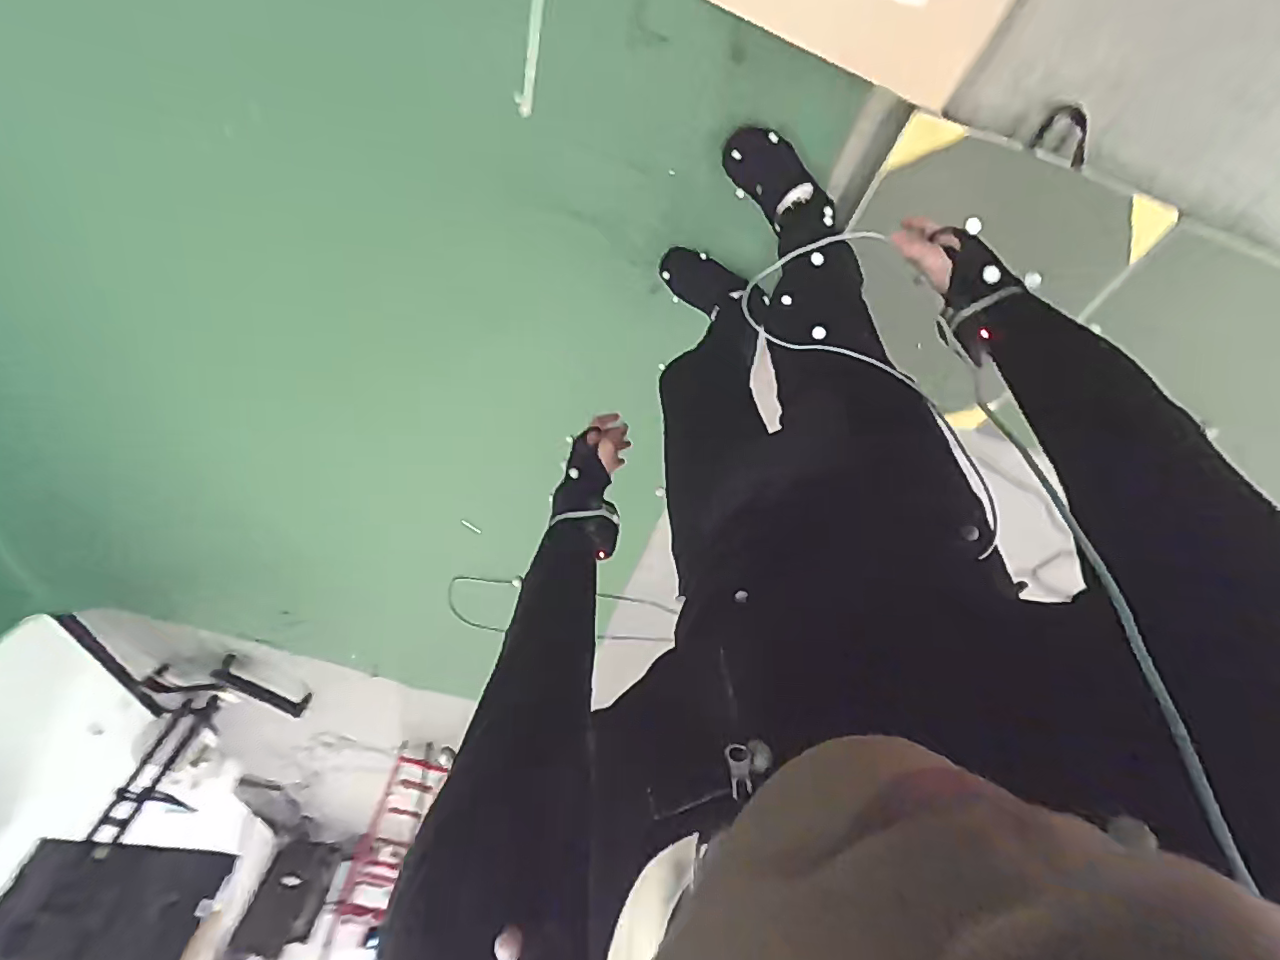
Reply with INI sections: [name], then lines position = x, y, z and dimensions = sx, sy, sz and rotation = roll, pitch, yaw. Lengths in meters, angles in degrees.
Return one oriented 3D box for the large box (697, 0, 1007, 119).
[large box]
position = 0.328, -0.813, 0.805
dimensions = 0.408, 0.320, 0.320
rotation = 19, 134, -8
